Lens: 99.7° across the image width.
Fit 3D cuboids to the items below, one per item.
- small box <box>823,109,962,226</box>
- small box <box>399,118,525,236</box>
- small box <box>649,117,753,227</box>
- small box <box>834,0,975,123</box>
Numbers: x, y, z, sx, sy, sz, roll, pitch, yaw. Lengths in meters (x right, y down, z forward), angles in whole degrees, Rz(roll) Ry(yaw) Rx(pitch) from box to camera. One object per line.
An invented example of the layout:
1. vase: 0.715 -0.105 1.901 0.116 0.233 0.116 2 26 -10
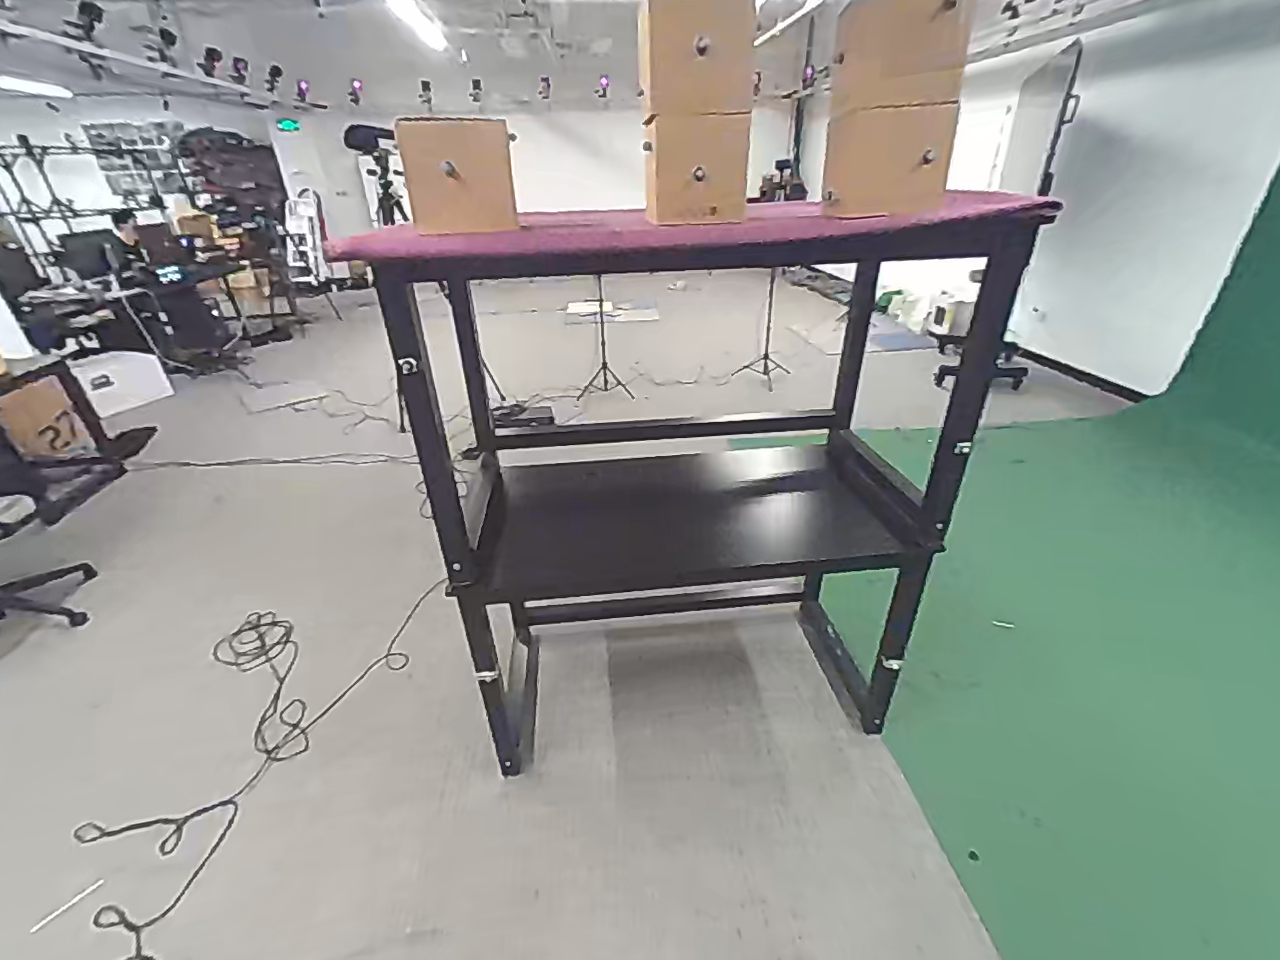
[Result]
1. small box: 0.457 -0.576 1.009 0.179 0.176 0.168 -3 26 1
2. small box: -0.305 -0.535 0.963 0.179 0.176 0.168 -7 31 -9
3. small box: 0.106 -0.572 1.017 0.168 0.176 0.179 -3 29 -4
4. small box: 0.447 -0.723 0.940 0.179 0.176 0.168 -1 27 3
